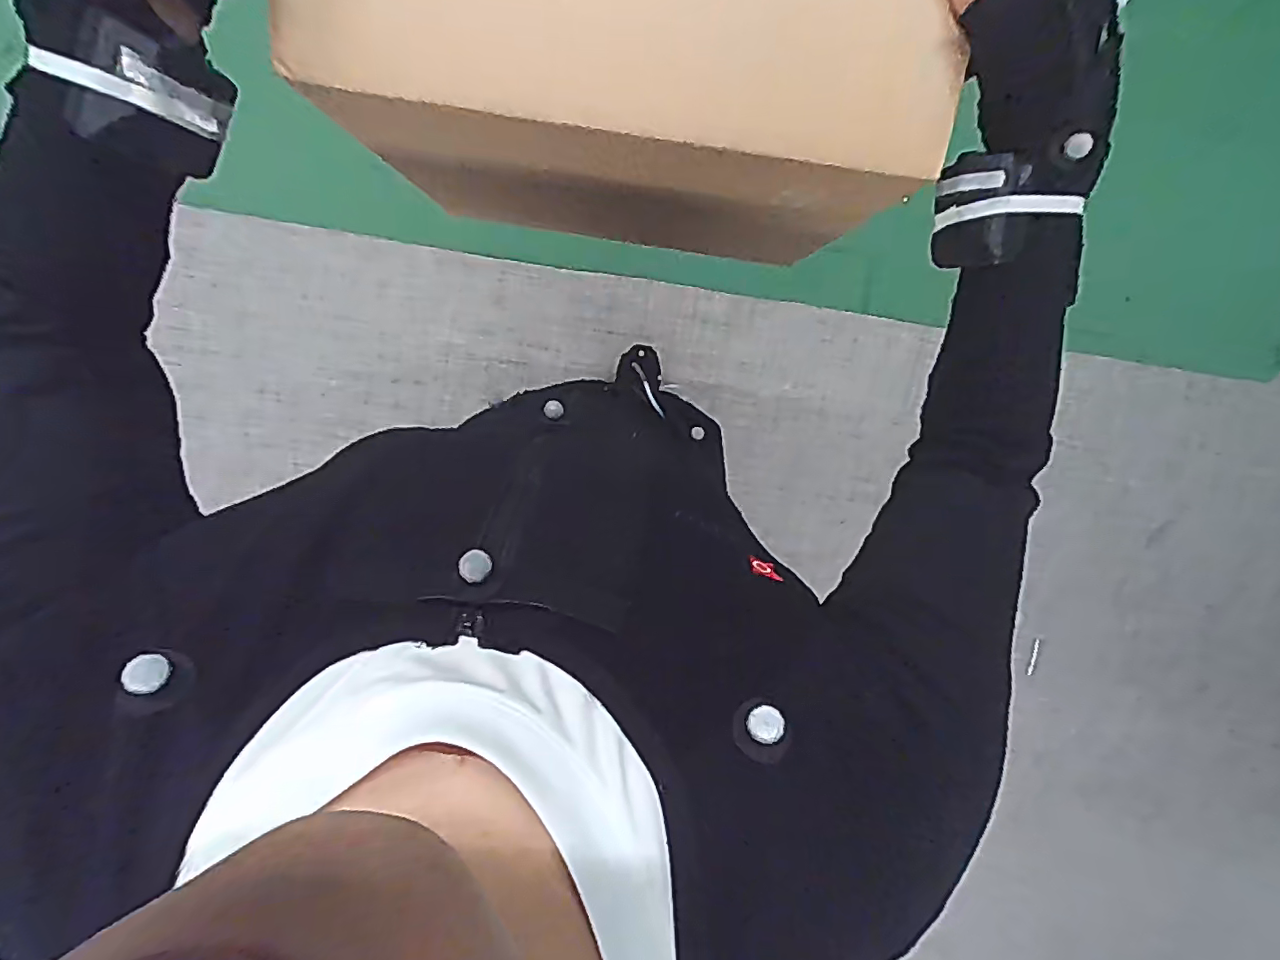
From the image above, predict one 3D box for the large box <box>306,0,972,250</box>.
[{"bbox_3d":[0.008,-0.404,0.450,0.408,0.320,0.320,7,103,-3],"label":"large box"}]
